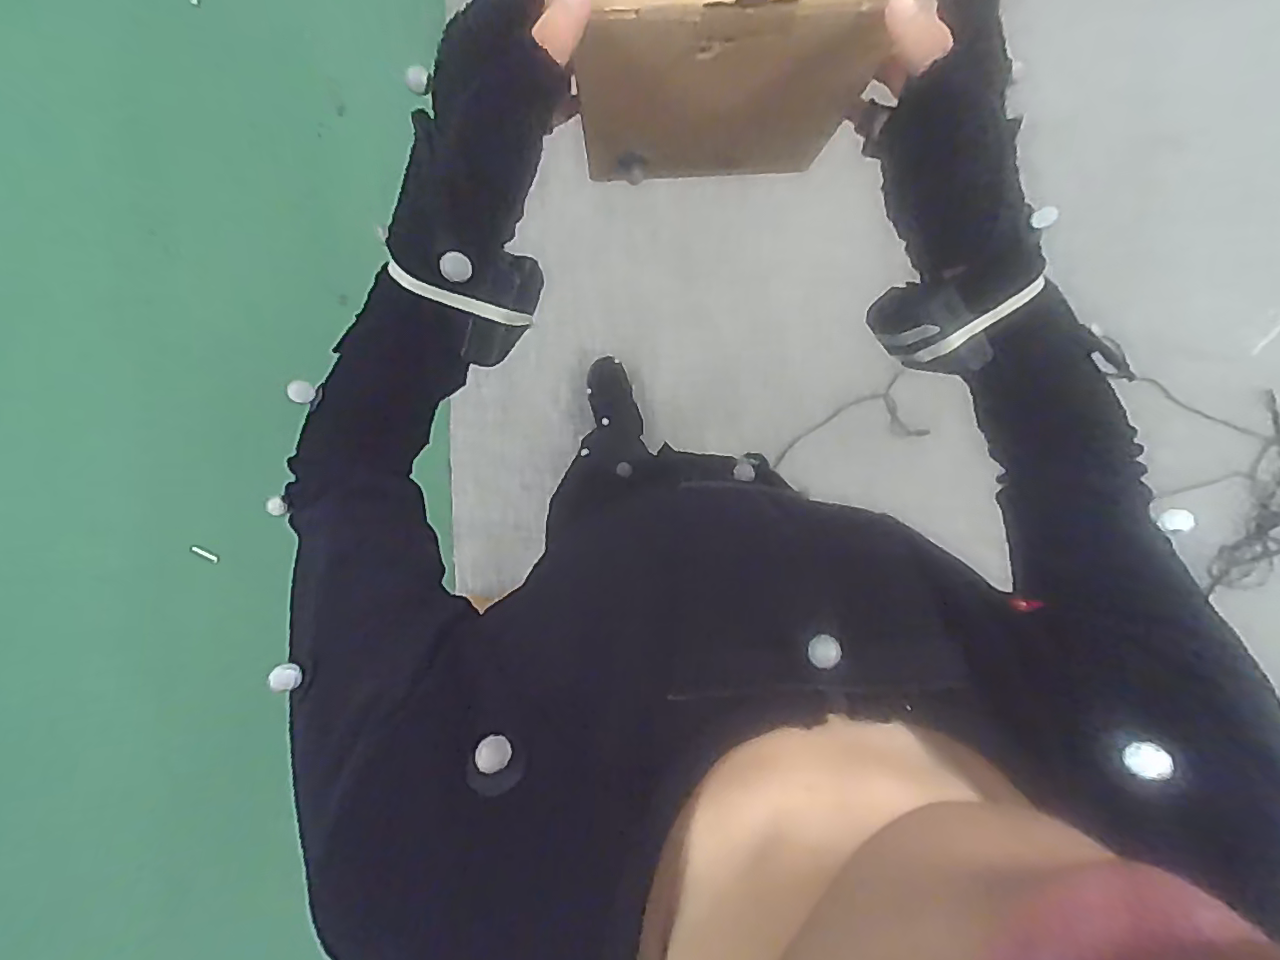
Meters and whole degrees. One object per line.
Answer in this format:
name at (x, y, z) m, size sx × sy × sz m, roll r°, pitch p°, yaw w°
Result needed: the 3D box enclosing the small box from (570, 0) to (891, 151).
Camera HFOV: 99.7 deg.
small box at (0.044, -0.315, 0.311) m, size 0.168 × 0.176 × 0.179 m, roll -3°, pitch 94°, yaw -2°
